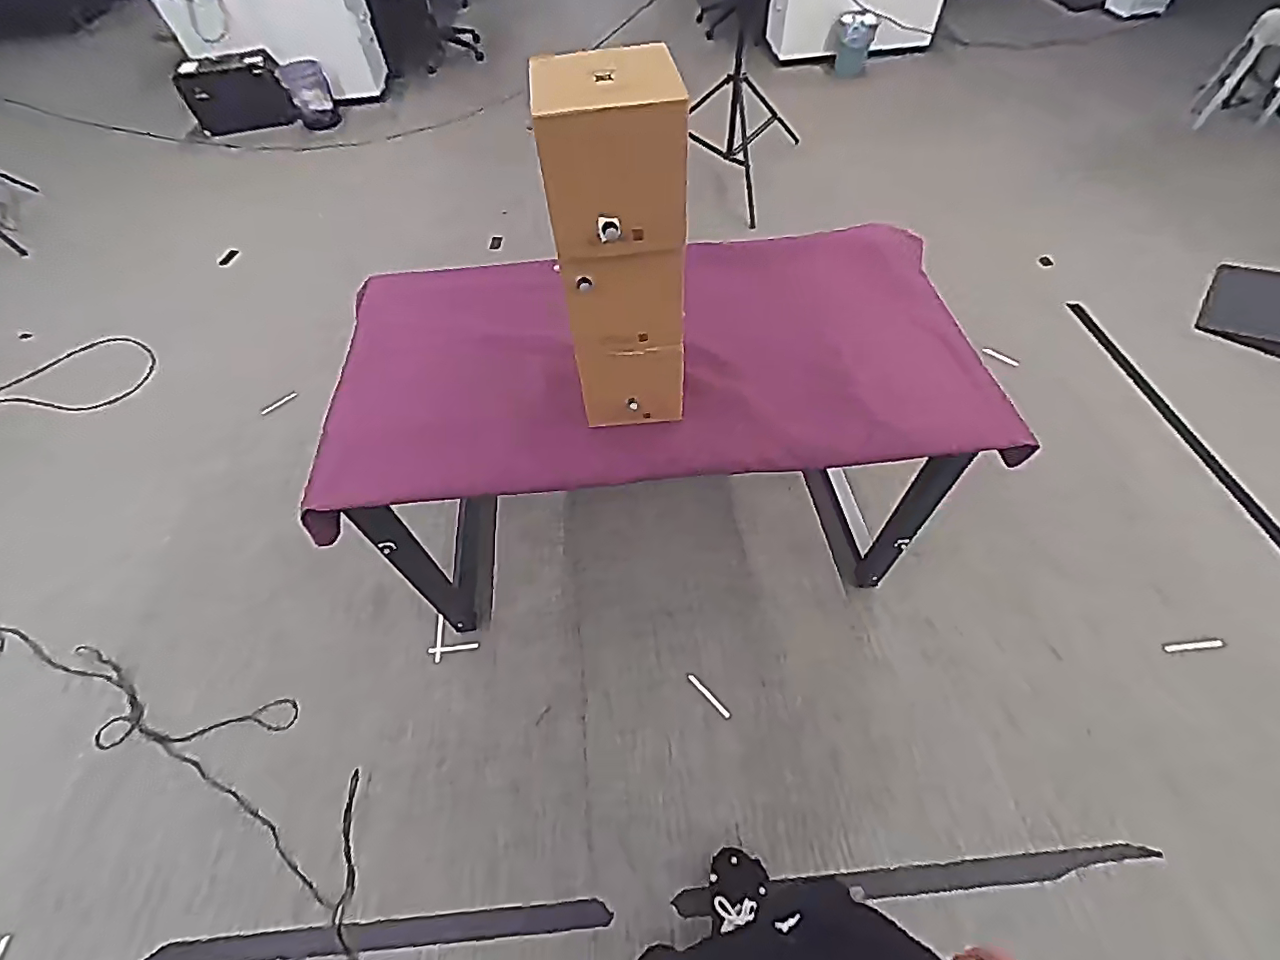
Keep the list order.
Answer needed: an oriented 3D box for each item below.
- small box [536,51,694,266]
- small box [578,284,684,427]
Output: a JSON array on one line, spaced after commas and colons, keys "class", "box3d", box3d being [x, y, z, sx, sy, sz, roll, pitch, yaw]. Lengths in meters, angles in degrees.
[{"class": "small box", "box3d": [-0.032, -0.392, 0.667, 0.168, 0.176, 0.179, -8, 55, -2]}, {"class": "small box", "box3d": [-0.015, -0.214, 0.940, 0.168, 0.176, 0.179, -4, 55, 1]}]
